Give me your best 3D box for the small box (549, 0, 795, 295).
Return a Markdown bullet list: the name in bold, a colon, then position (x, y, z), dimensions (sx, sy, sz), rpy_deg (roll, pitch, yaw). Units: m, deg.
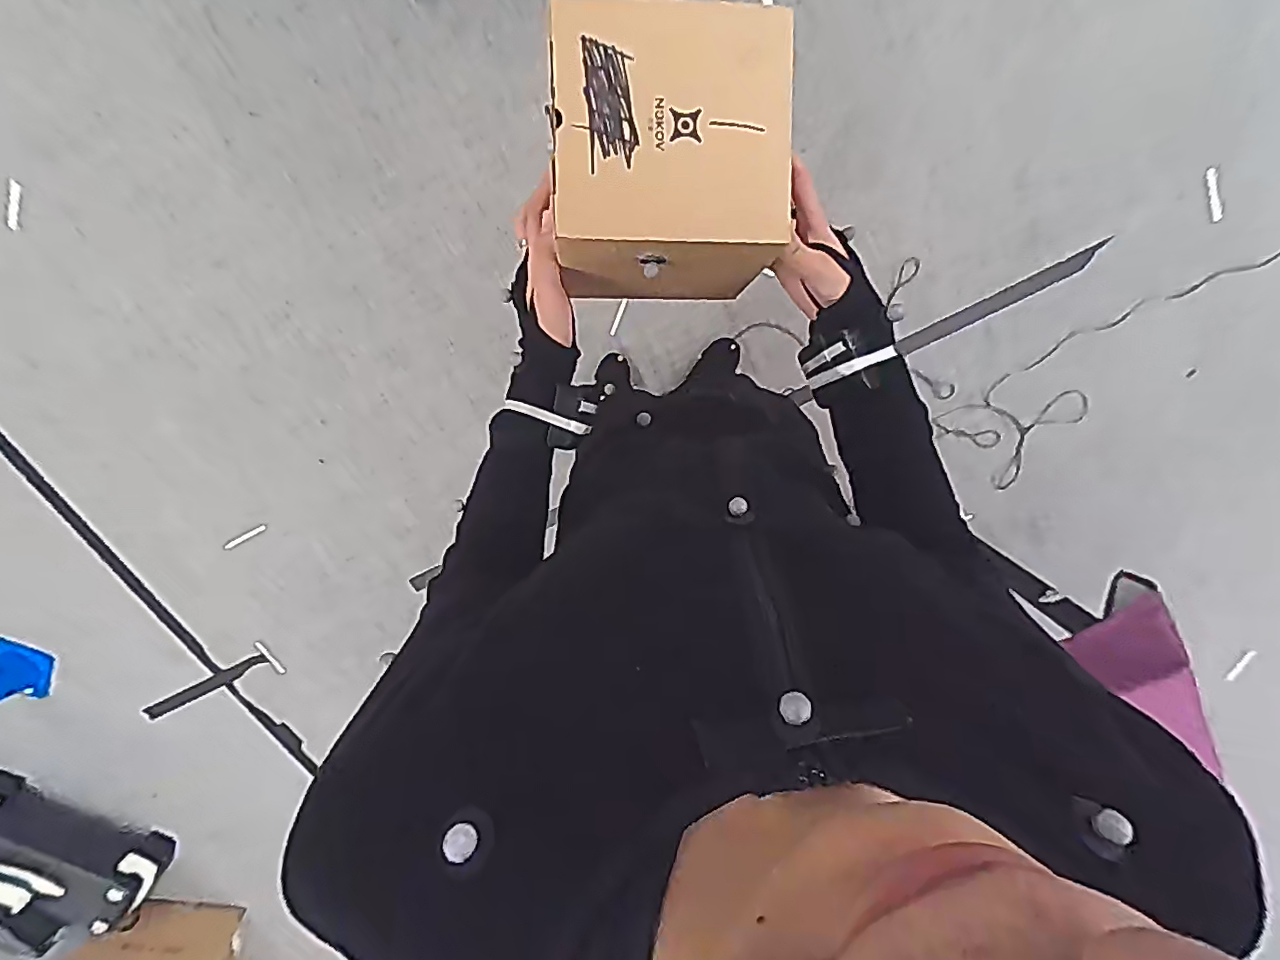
- **small box**: position (0.019, -0.263, 0.464), dimensions (0.179, 0.176, 0.168), rpy_deg (-1, 95, -5)
